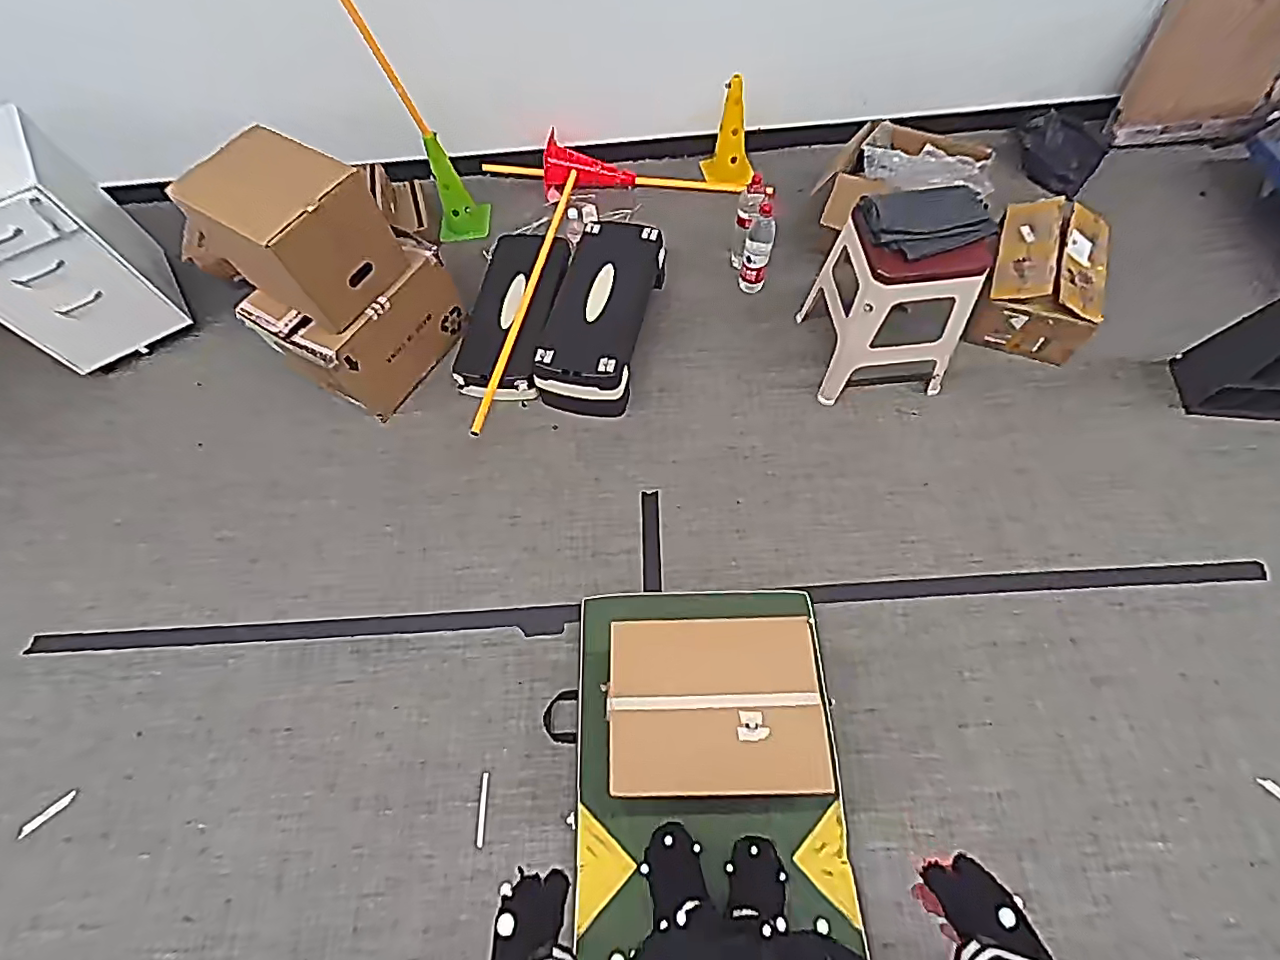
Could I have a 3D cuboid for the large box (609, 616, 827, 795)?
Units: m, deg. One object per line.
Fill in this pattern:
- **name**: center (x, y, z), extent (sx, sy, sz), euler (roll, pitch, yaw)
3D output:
- **large box**: center (0.143, 0.495, 1.183), extent (0.408, 0.320, 0.320), euler (-2, 64, 1)
